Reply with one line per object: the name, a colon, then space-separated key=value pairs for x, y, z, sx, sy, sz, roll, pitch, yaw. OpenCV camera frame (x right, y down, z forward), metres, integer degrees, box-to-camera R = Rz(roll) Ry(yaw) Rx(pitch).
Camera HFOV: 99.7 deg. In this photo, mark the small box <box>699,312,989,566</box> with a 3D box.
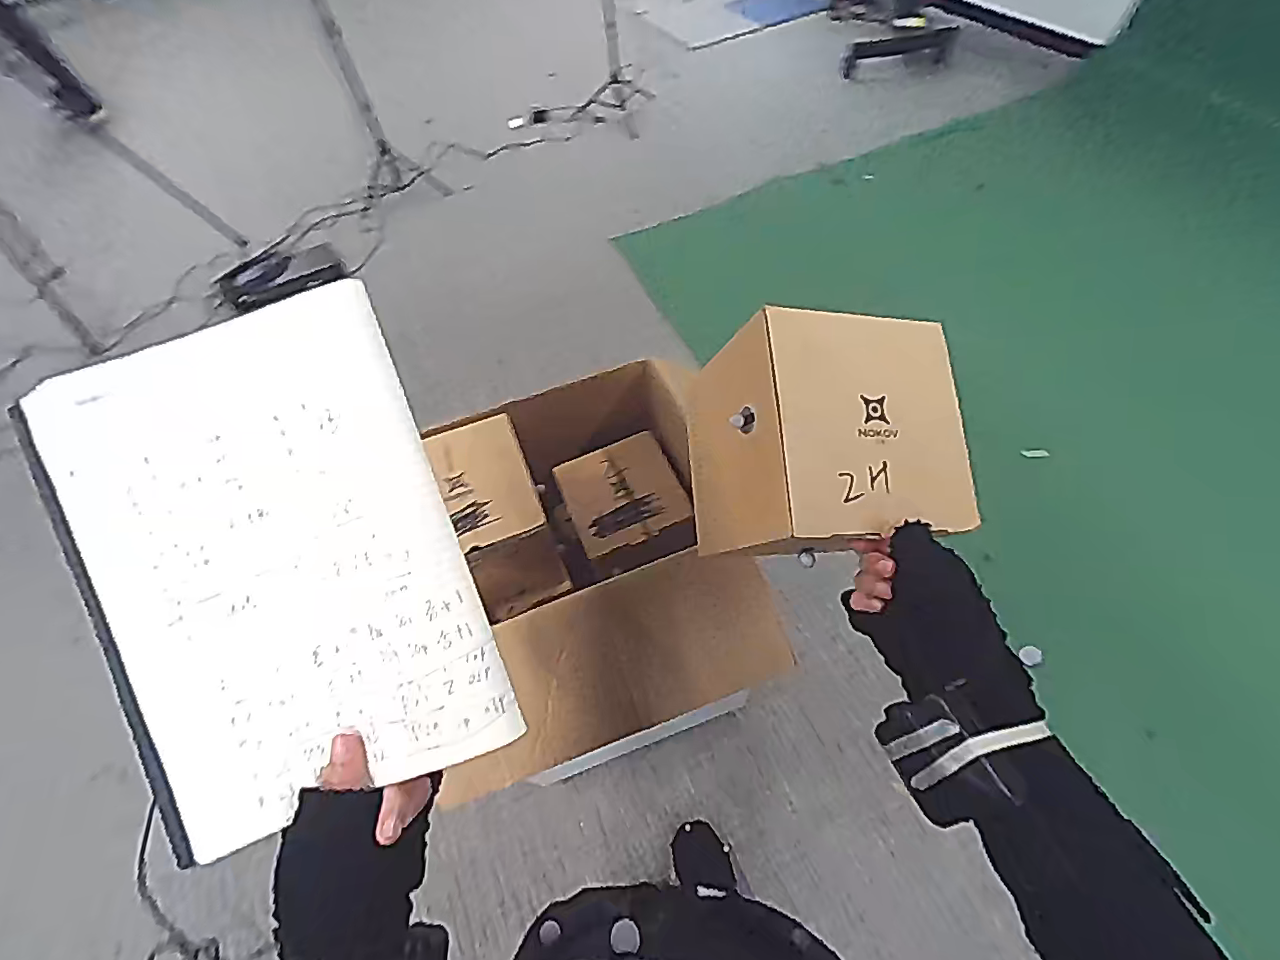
small box: x=0.160 y=-0.021 z=0.481 sx=0.168 sy=0.176 sz=0.179 roll=1 pitch=76 yaw=-17
